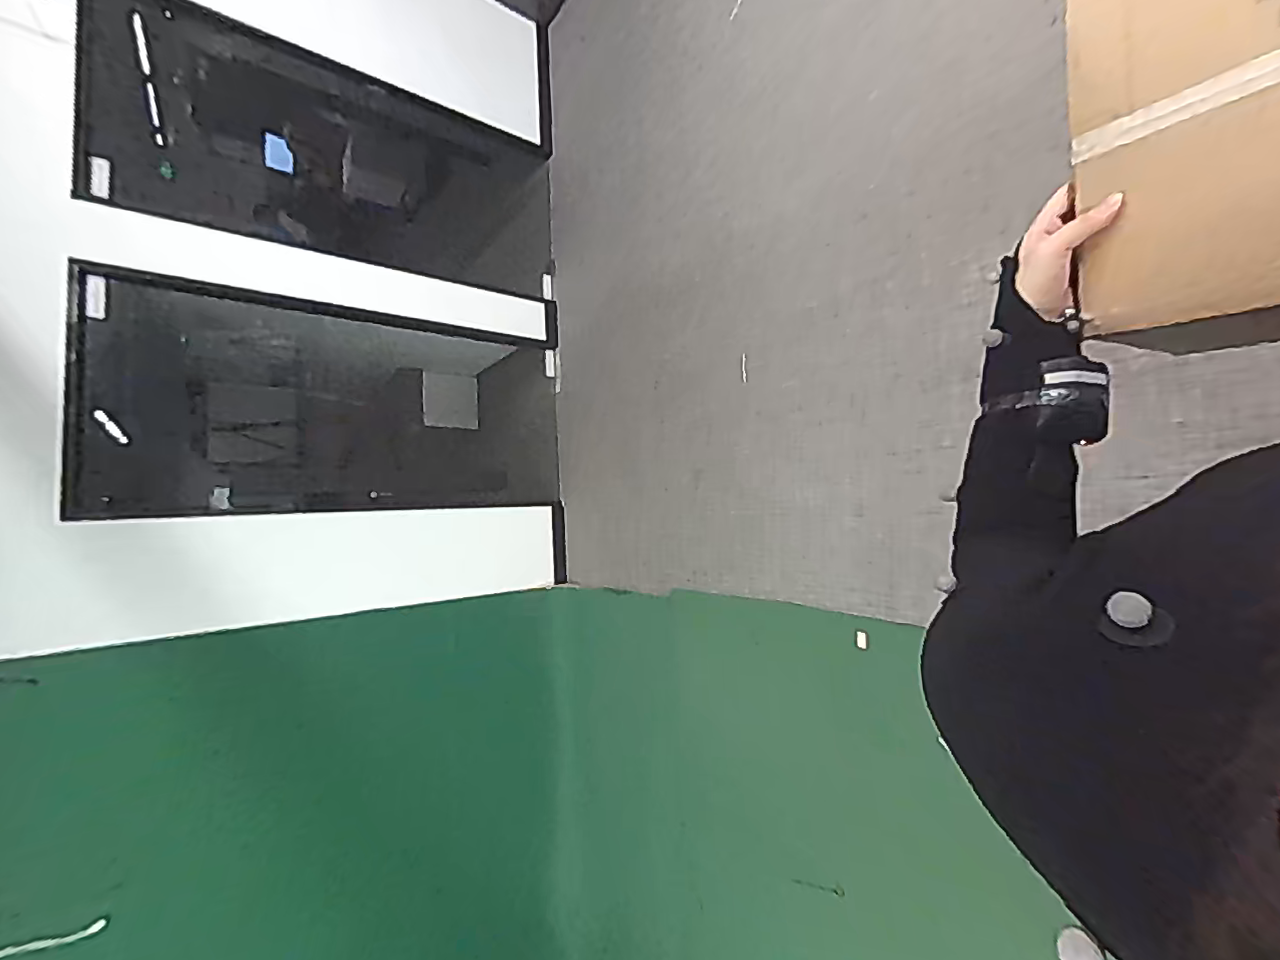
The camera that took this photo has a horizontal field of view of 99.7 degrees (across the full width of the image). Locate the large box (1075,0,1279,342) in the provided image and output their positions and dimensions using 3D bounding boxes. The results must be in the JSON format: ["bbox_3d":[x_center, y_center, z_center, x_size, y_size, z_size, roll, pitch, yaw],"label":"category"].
[{"bbox_3d":[0.618,-0.298,0.382,0.408,0.320,0.320,-1,94,57],"label":"large box"}]
